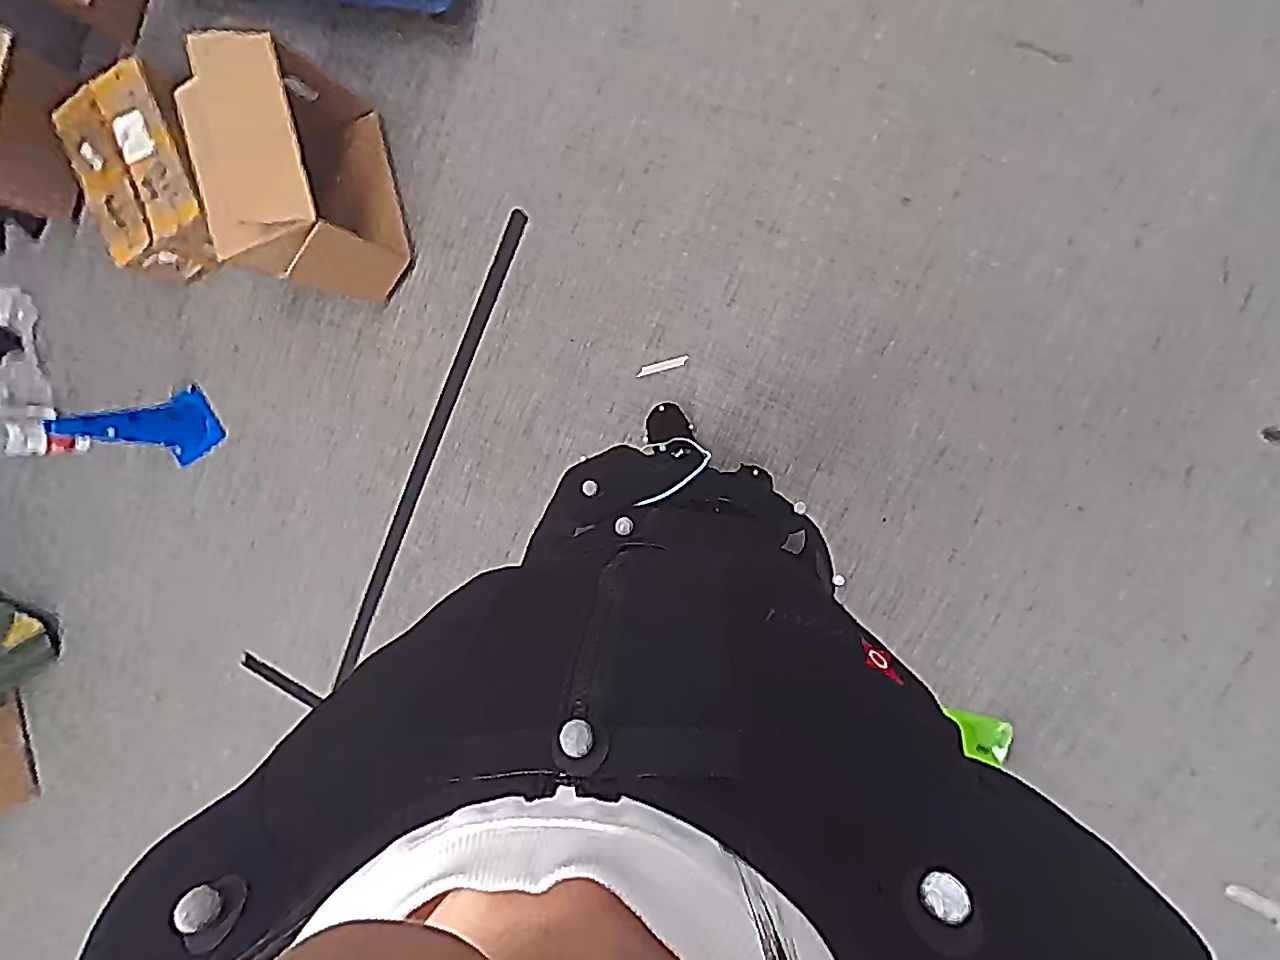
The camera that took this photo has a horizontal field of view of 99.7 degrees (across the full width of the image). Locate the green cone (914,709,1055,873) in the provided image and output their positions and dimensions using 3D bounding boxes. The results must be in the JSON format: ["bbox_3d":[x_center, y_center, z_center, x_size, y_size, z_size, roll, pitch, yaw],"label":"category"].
[{"bbox_3d":[0.782,0.703,1.189,0.202,0.368,0.200,10,98,8],"label":"green cone"}]
